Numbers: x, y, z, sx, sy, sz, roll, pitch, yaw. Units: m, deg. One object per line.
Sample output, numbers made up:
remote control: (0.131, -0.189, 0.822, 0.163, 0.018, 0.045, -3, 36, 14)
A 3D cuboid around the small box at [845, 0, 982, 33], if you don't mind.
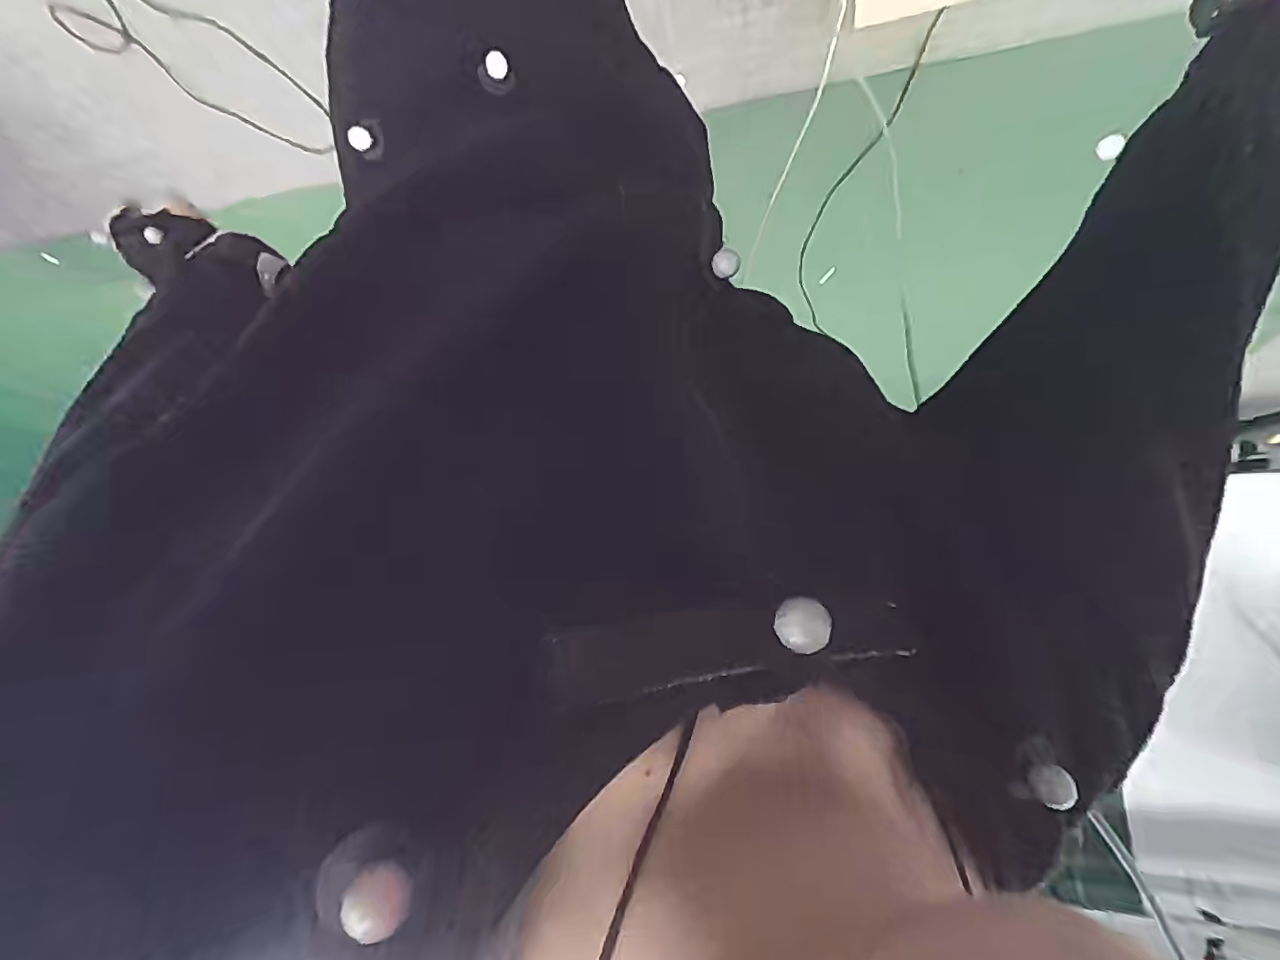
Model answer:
small box: (0.353, -0.728, 0.682, 0.179, 0.176, 0.168, -2, 164, 16)
